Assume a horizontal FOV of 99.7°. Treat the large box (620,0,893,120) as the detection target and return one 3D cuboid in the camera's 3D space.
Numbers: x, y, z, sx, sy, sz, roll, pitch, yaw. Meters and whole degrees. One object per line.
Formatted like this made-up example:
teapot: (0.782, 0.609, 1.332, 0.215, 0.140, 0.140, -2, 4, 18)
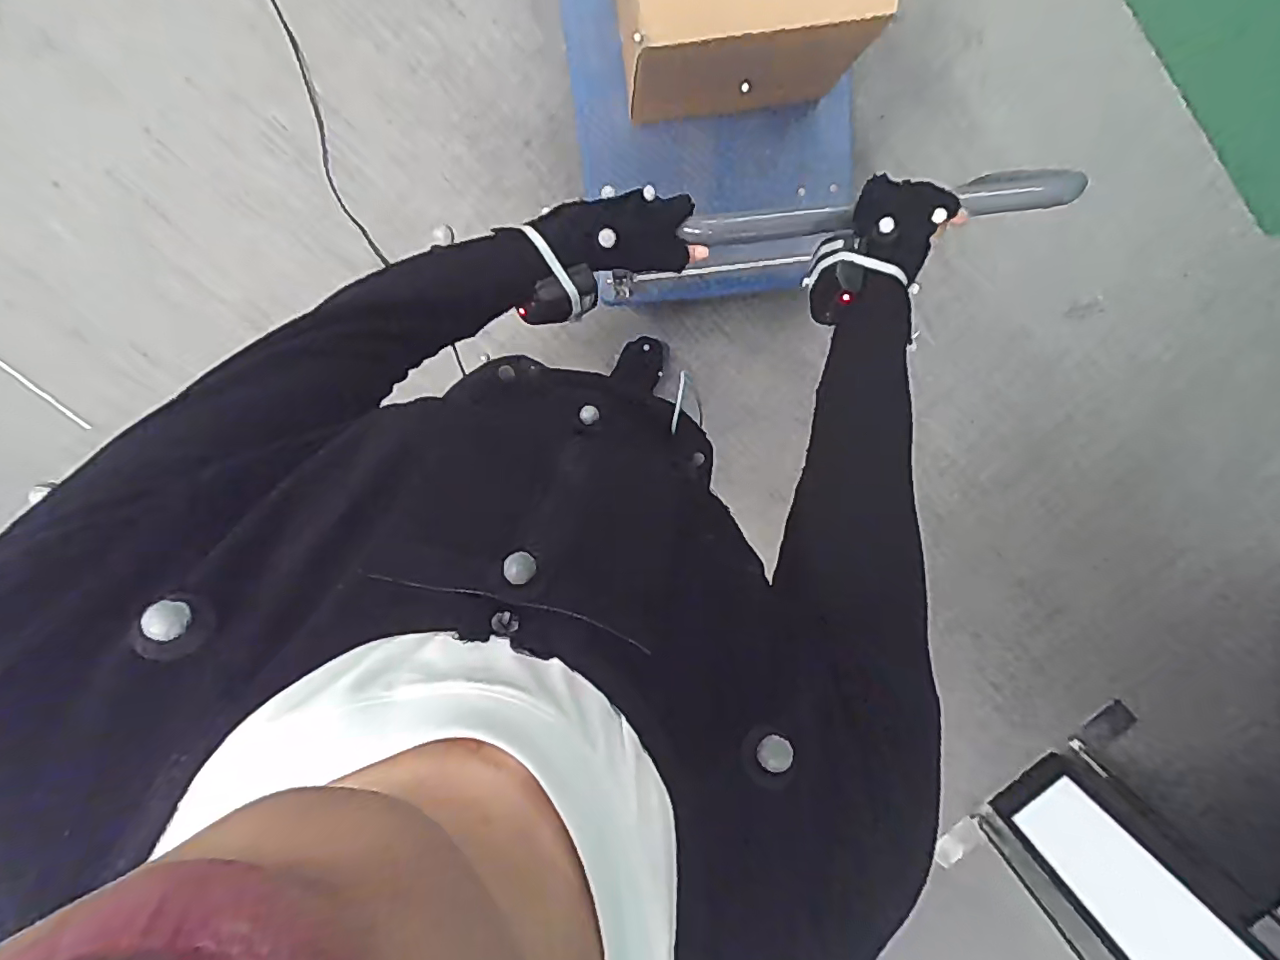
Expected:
large box: (0.173, -0.881, 0.945, 0.408, 0.320, 0.320, -9, 105, -1)
